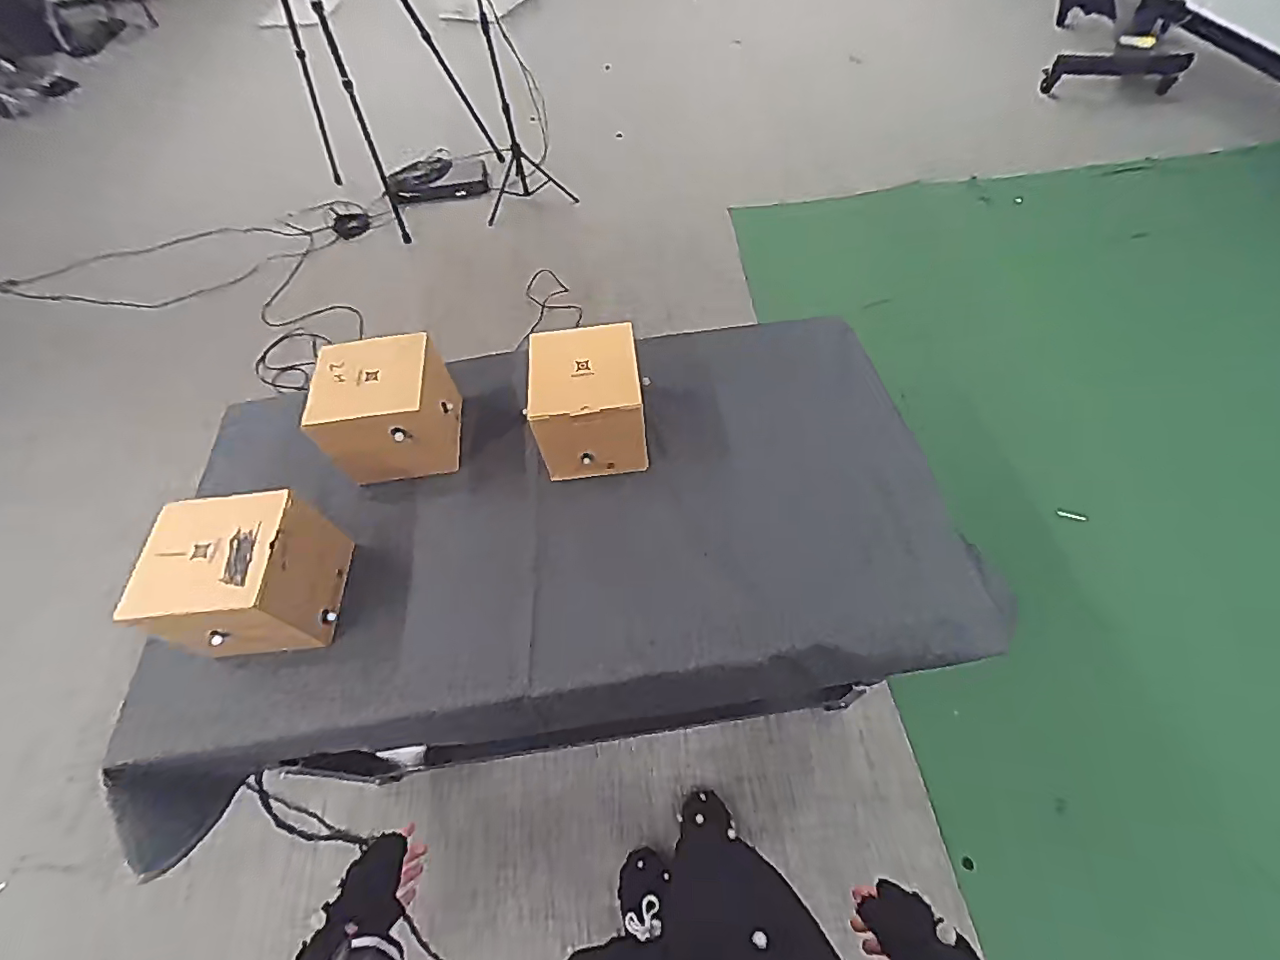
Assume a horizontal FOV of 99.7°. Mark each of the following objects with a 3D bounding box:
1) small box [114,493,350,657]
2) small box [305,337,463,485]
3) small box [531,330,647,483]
[{"bbox_3d":[-0.537,0.136,0.747,0.179,0.176,0.168,-6,57,1],"label":"small box"},{"bbox_3d":[-0.406,-0.109,0.894,0.179,0.176,0.168,-8,58,-1],"label":"small box"},{"bbox_3d":[-0.078,-0.116,0.882,0.168,0.176,0.179,-6,58,-1],"label":"small box"}]
